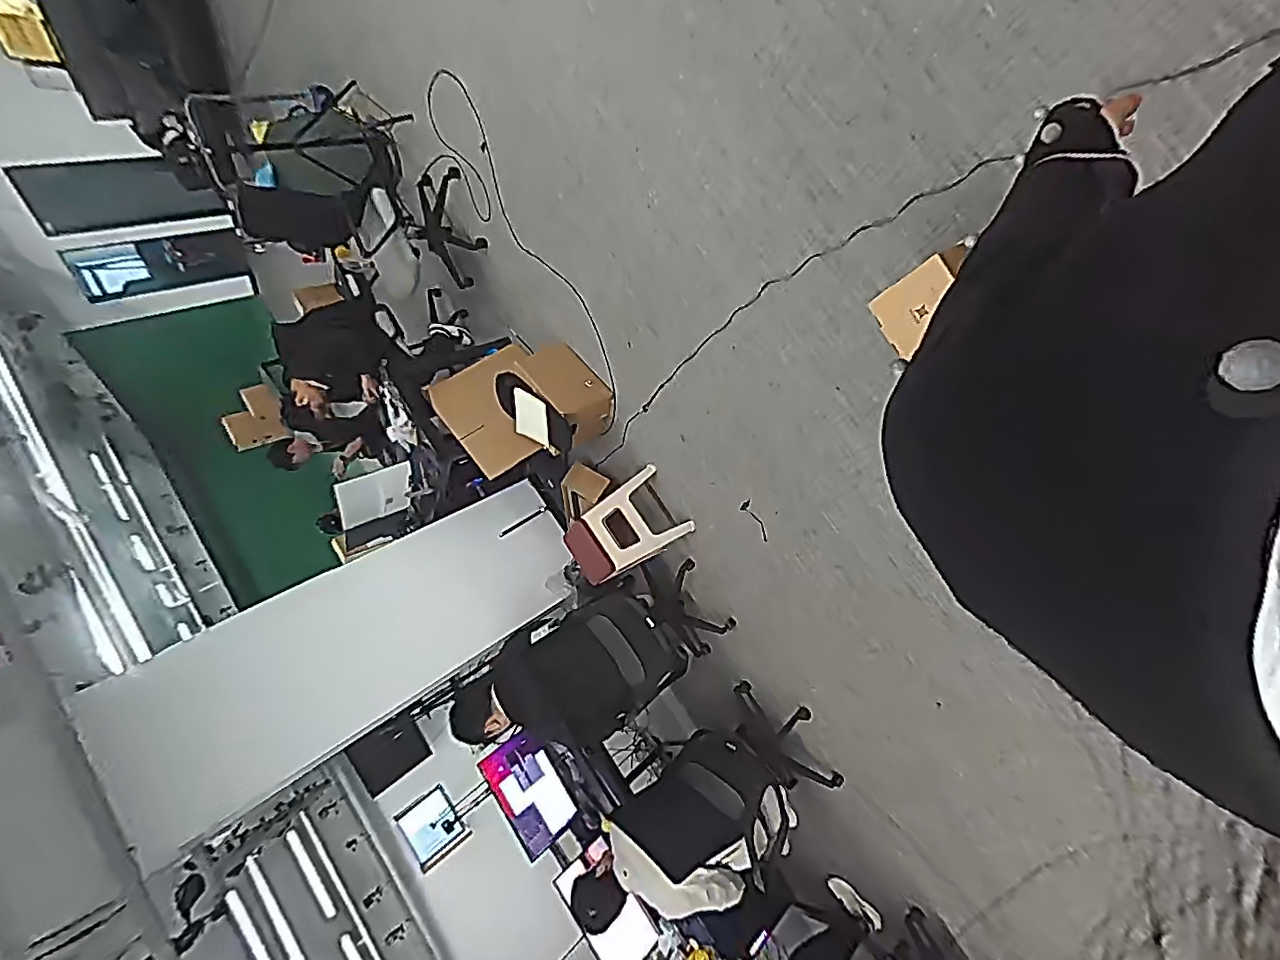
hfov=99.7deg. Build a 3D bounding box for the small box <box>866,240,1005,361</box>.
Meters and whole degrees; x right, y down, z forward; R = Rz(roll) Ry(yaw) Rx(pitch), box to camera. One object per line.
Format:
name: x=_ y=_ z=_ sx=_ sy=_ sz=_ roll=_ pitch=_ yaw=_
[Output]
small box: x=0.639 y=-0.388 z=1.169 sx=0.168 sy=0.176 sz=0.179 roll=58 pitch=146 yaw=2
